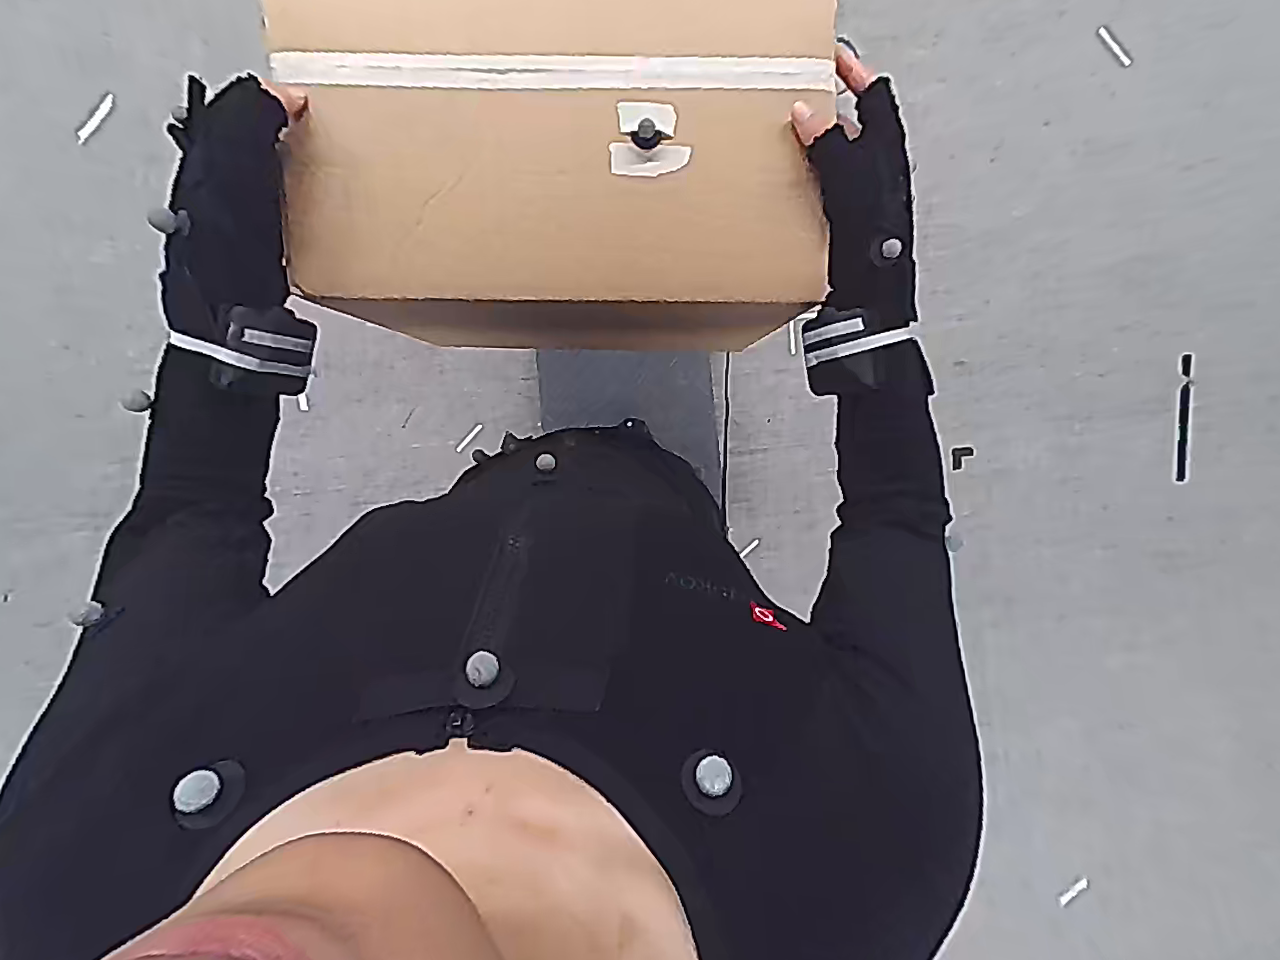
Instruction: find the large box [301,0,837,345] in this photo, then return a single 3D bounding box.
[{"bbox_3d":[-0.056,-0.318,0.553,0.408,0.320,0.320,0,97,-1],"label":"large box"}]
